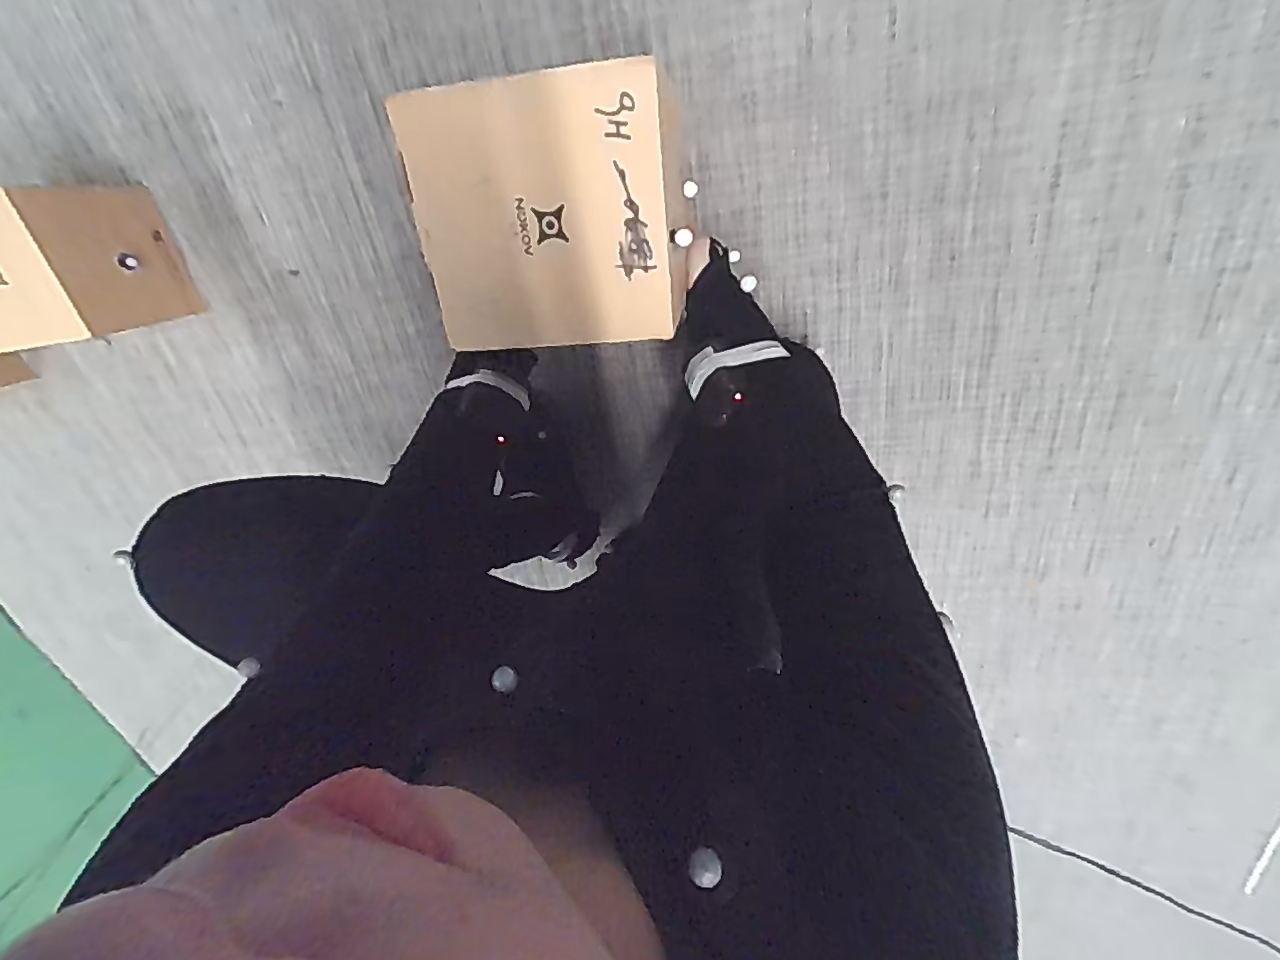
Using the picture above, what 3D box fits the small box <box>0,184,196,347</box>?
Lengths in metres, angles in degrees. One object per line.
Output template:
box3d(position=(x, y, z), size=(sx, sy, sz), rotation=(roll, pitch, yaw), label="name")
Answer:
box3d(position=(-0.732, -0.279, 0.697), size=(0.179, 0.176, 0.168), rotation=(-4, 117, 11), label="small box")

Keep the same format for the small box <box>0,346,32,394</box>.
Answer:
box3d(position=(-1.102, -0.183, 0.809), size=(0.179, 0.176, 0.168), rotation=(-16, 114, 16), label="small box")

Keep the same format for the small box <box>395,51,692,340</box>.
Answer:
box3d(position=(-0.054, -0.216, 0.436), size=(0.179, 0.176, 0.168), rotation=(0, 119, 10), label="small box")
